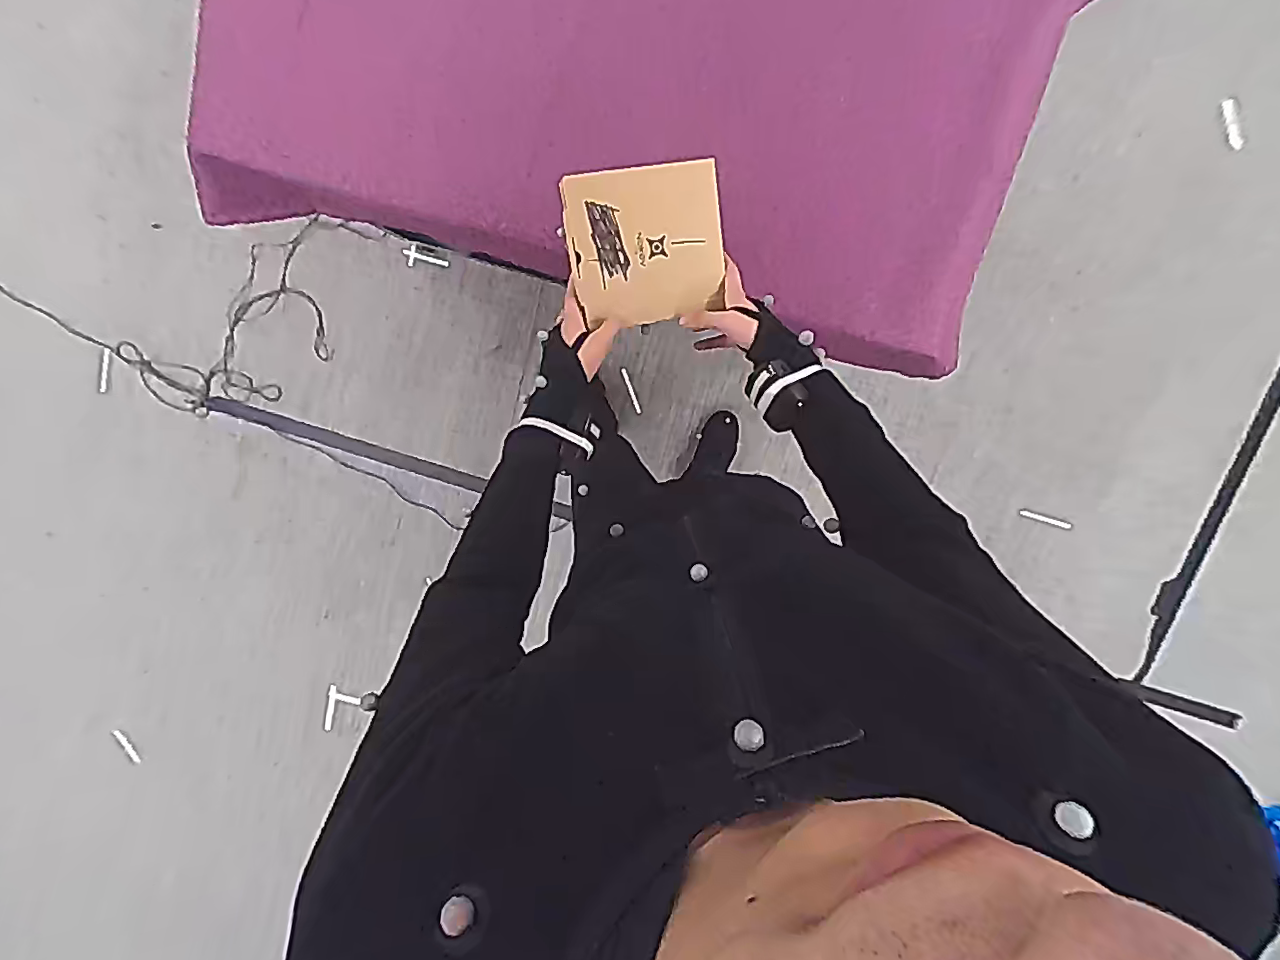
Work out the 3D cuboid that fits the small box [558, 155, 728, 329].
[{"bbox_3d":[0.001,-0.288,0.689,0.179,0.176,0.168,-11,107,-3],"label":"small box"}]
